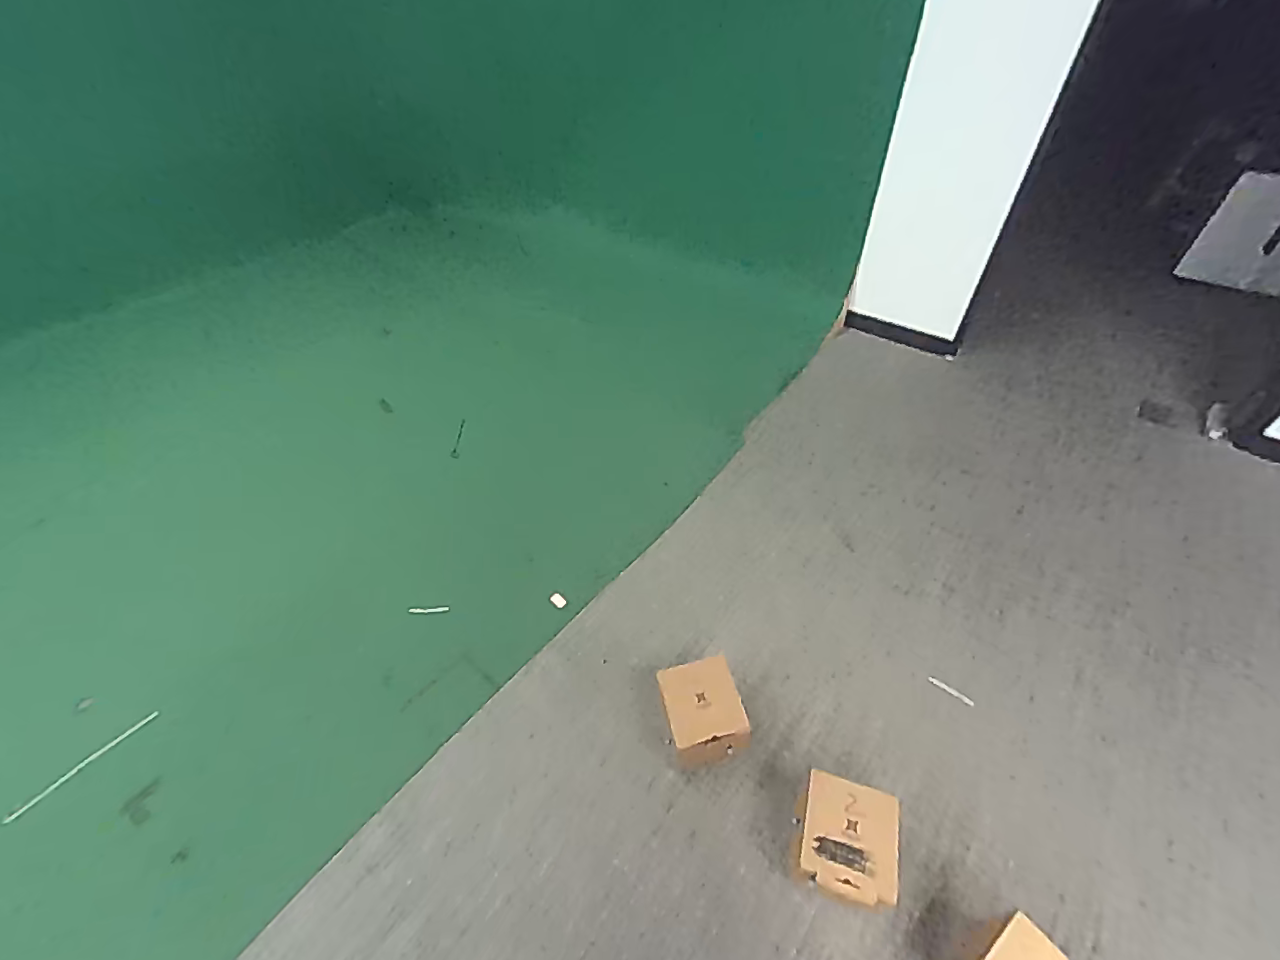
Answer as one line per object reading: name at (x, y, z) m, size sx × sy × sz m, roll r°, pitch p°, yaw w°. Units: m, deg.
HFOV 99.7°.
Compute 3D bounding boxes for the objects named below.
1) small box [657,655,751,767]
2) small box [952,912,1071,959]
small box at (0.141, 0.534, 1.236) m, size 0.168 × 0.176 × 0.179 m, roll -12°, pitch 46°, yaw -9°
small box at (0.627, 0.865, 0.892) m, size 0.179 × 0.176 × 0.168 m, roll -30°, pitch 52°, yaw -22°
